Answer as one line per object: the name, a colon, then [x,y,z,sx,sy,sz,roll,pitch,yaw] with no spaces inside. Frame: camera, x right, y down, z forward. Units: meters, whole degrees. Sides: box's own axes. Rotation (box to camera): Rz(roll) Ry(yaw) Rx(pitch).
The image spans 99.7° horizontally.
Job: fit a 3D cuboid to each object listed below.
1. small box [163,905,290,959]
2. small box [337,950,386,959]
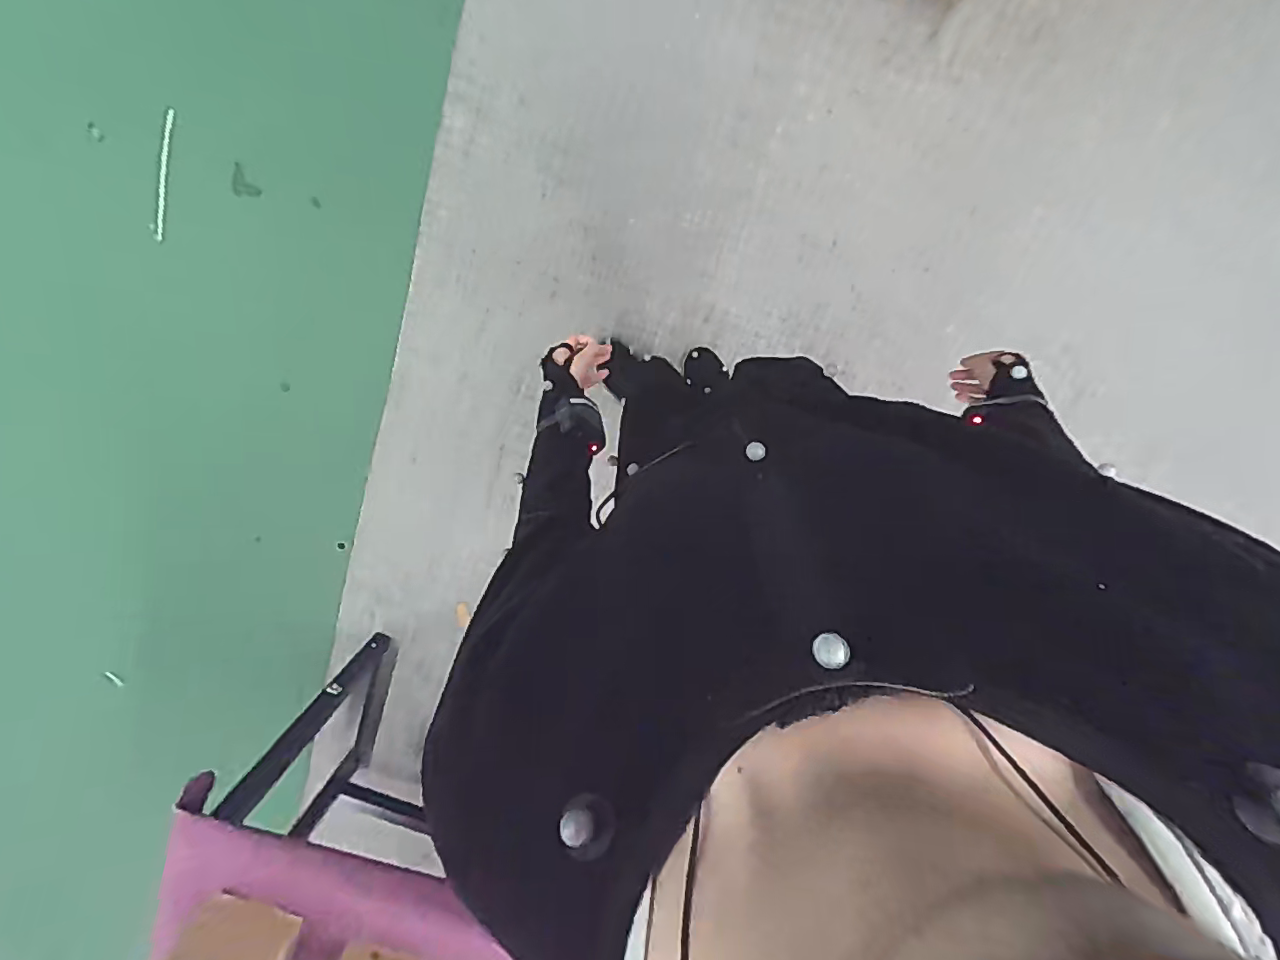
small box: [-0.775,0.919,0.974,0.179,0.176,0.168,22,107,-4]
small box: [-0.529,1.032,0.998,0.168,0.176,0.179,16,106,-3]
